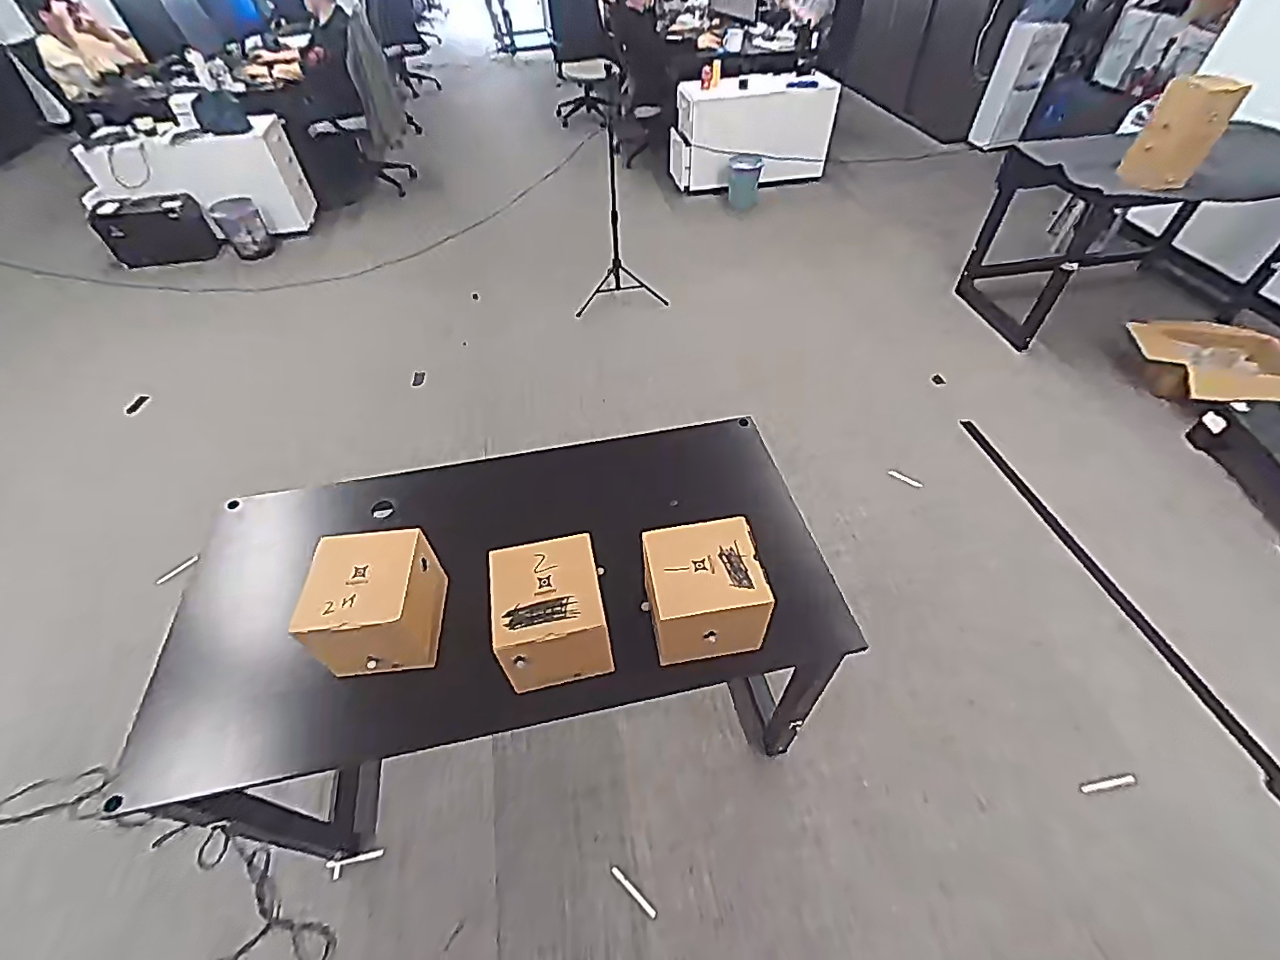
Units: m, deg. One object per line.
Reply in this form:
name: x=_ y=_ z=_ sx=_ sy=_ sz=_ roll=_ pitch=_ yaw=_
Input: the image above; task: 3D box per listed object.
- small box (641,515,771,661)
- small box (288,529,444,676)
small box: x=0.101 y=0.183 z=0.907 sx=0.179 sy=0.176 sz=0.168 roll=-9 pitch=49 yaw=-4
small box: x=-0.442 y=0.206 z=0.908 sx=0.168 sy=0.176 sz=0.179 roll=-6 pitch=49 yaw=-2
